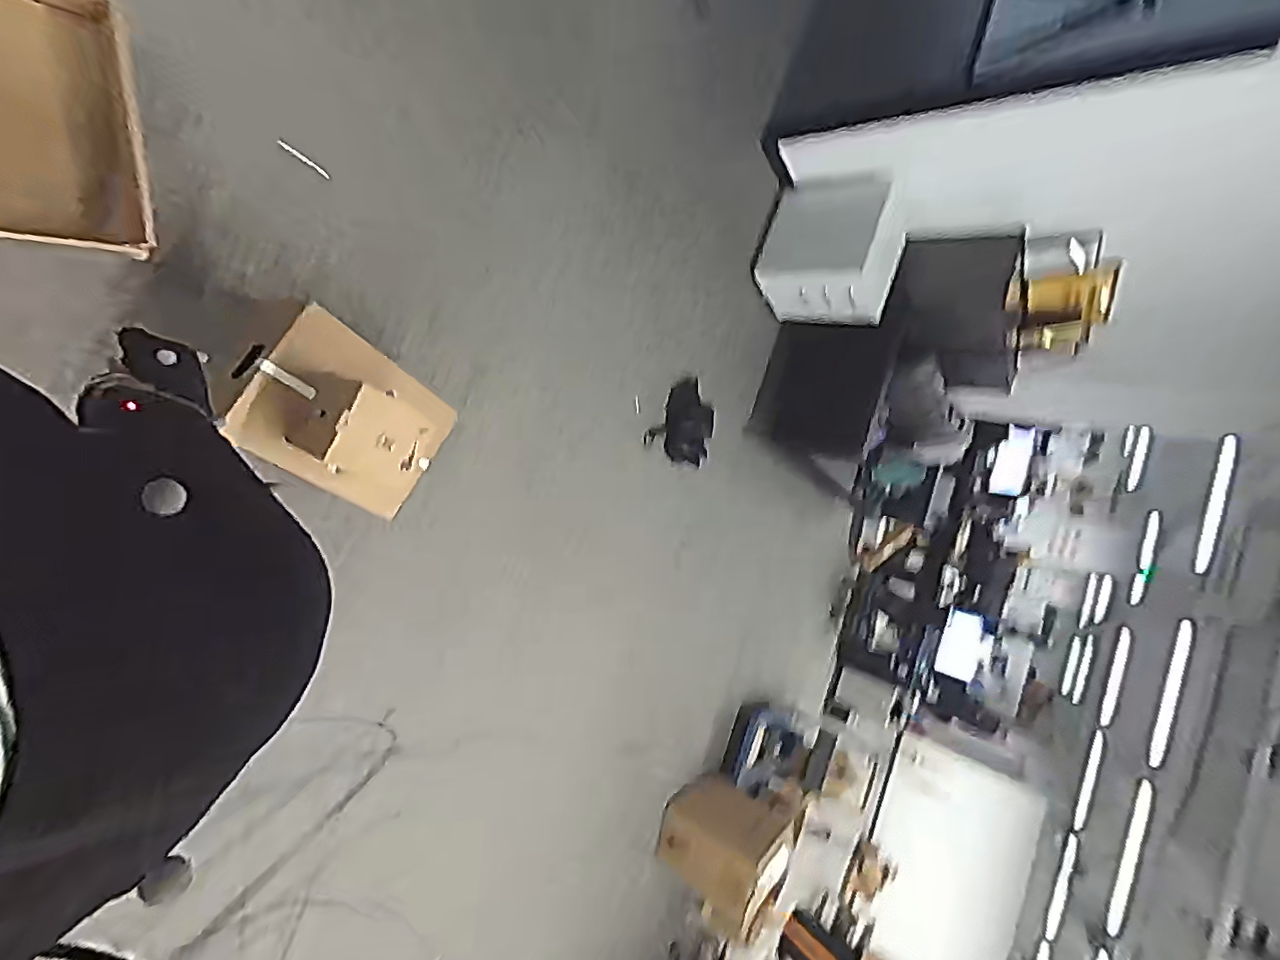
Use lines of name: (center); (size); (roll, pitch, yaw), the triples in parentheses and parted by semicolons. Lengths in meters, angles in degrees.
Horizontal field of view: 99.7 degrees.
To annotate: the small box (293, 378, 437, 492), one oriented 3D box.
small box: (-0.559, -0.094, 1.098); (0.179, 0.176, 0.168); (36, 74, -51)
